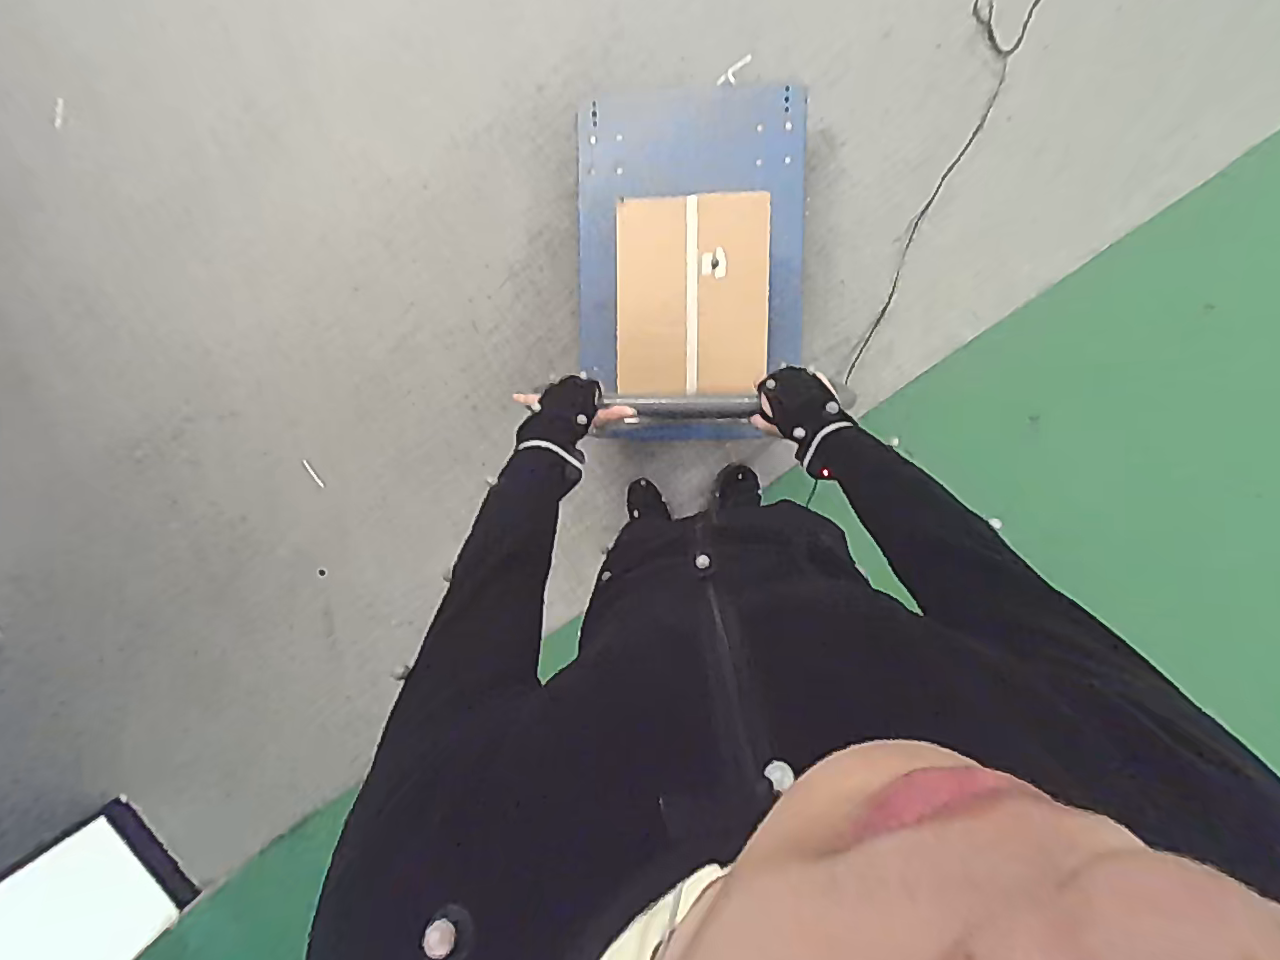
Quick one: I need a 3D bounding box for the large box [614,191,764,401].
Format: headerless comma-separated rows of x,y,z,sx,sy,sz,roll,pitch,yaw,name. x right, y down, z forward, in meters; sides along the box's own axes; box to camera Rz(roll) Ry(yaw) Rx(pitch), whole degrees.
0.118,-0.400,1.274,0.320,0.320,0.408,1,95,6,large box
